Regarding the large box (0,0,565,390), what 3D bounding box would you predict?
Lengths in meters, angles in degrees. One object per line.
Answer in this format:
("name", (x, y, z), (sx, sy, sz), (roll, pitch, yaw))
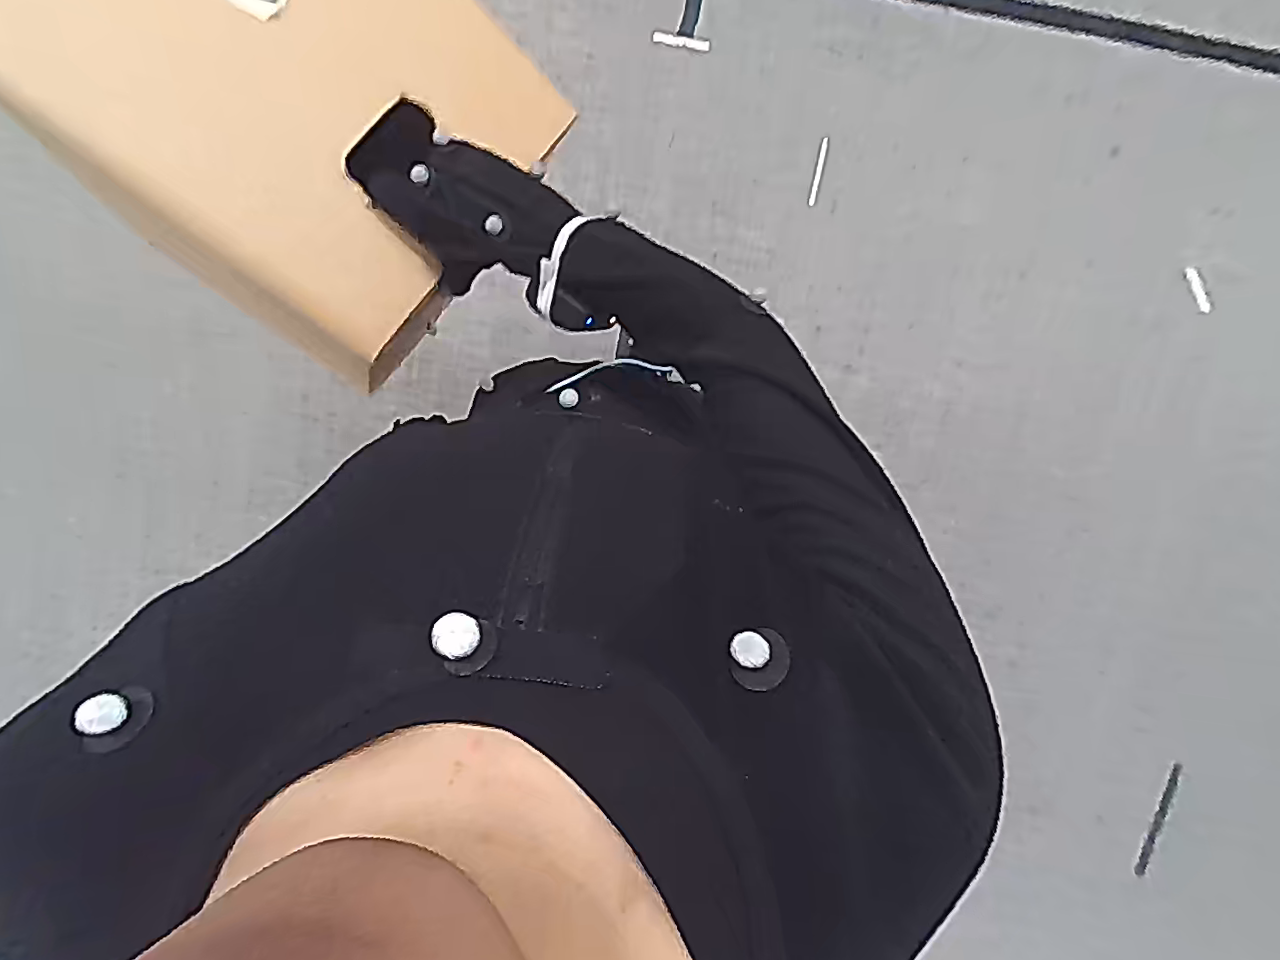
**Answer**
("large box", (-0.346, -0.329, 0.620), (0.320, 0.408, 0.320), (39, 77, -24))
